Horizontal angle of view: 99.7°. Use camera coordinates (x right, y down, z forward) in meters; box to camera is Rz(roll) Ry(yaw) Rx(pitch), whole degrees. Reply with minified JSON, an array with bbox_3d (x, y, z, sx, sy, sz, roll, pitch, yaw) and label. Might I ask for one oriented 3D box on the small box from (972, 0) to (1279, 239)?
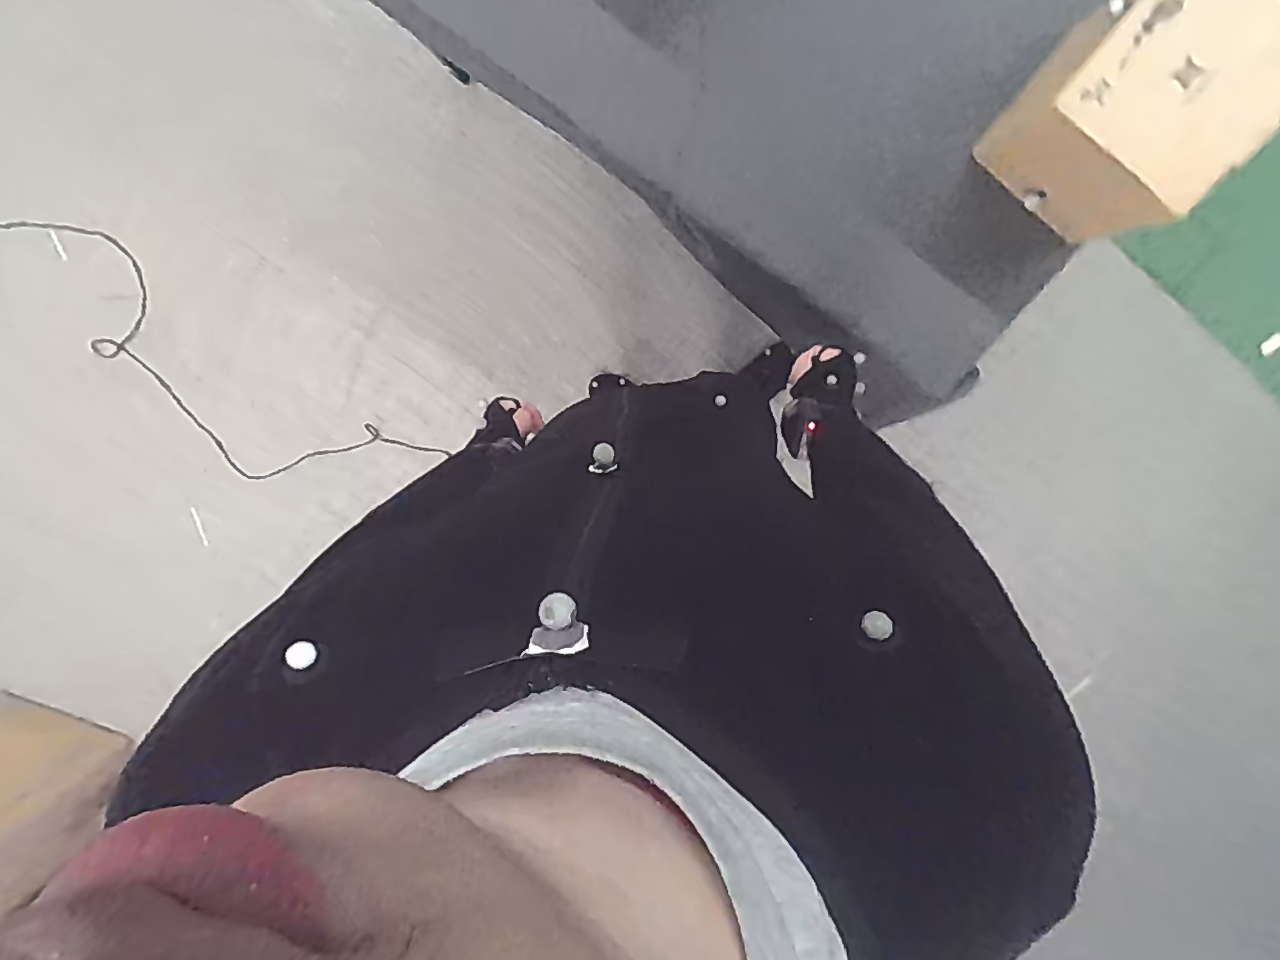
[{"bbox_3d":[0.515,-0.384,0.581,0.179,0.176,0.168,38,105,-7],"label":"small box"}]
